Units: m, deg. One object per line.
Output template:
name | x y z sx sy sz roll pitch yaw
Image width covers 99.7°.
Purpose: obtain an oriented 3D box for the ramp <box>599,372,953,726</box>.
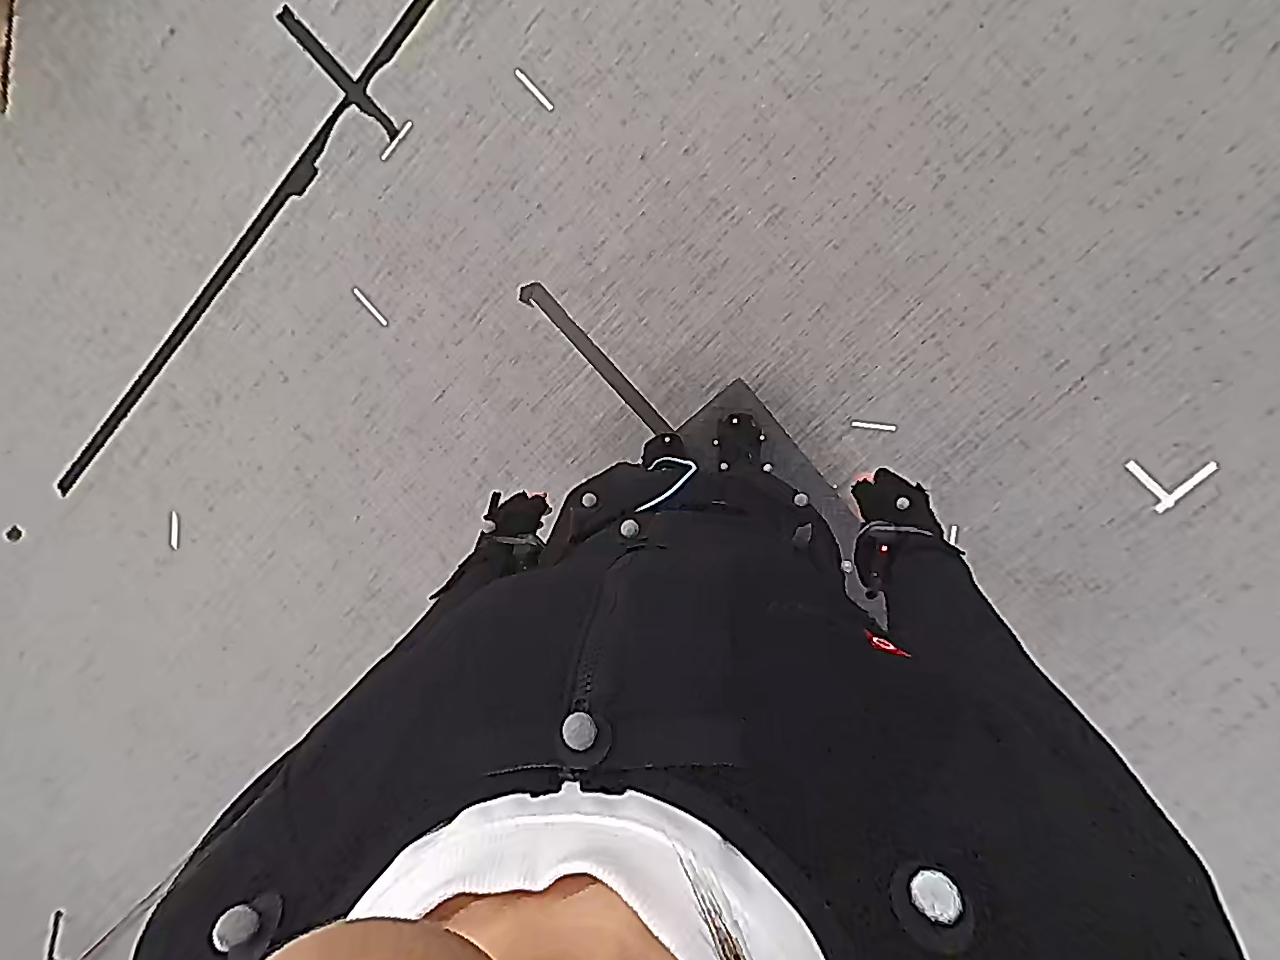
ramp | 0.395 0.231 1.504 0.509 0.206 0.991 -42 90 10
